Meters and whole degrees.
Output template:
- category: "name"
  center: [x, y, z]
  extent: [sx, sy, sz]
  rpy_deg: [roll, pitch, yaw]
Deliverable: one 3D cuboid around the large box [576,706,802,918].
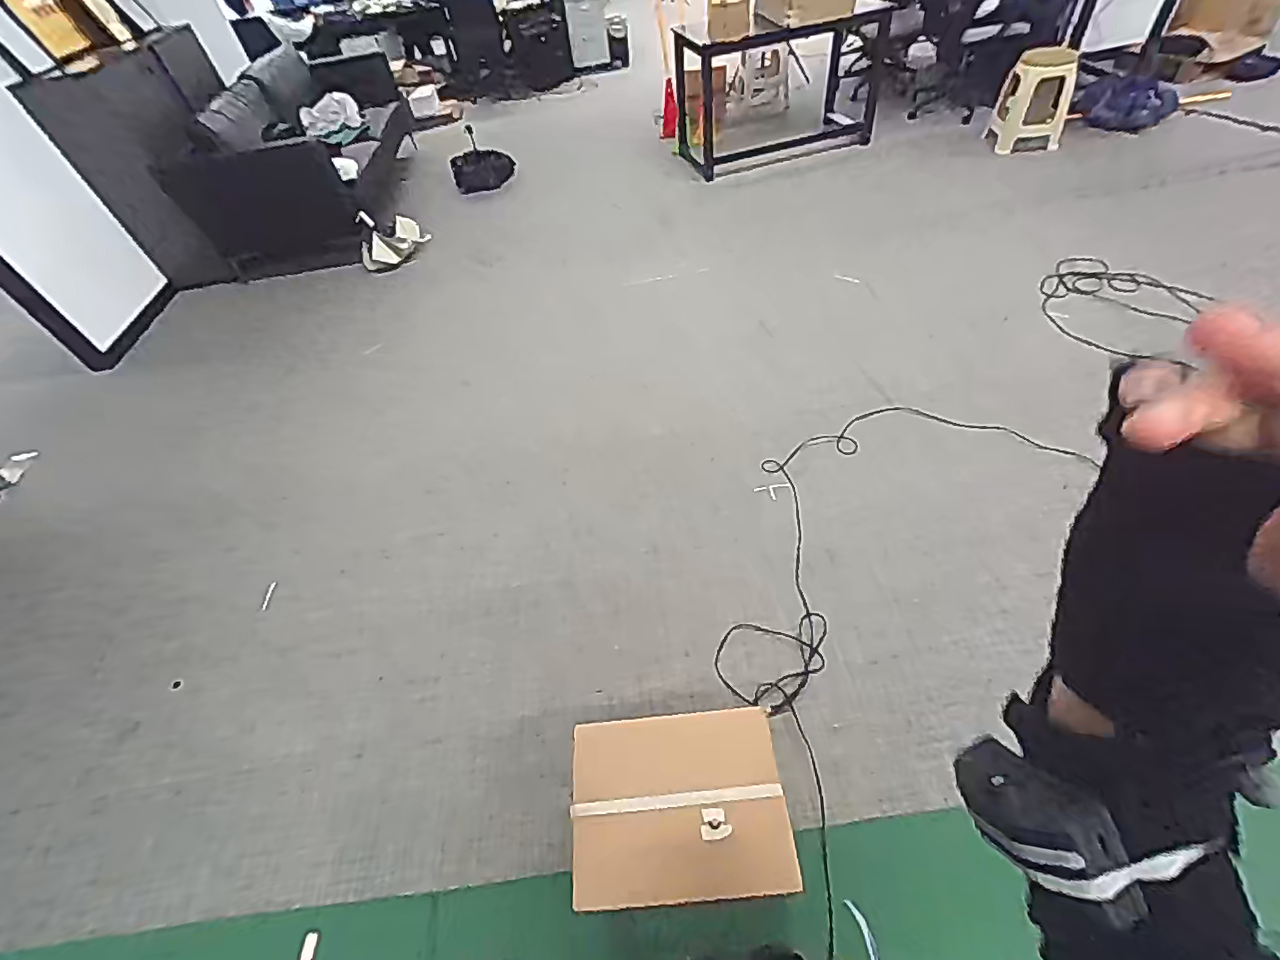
- category: "large box"
  center: [0.088, 0.710, 1.150]
  extent: [0.408, 0.320, 0.320]
  rpy_deg: [-7, 50, 2]
